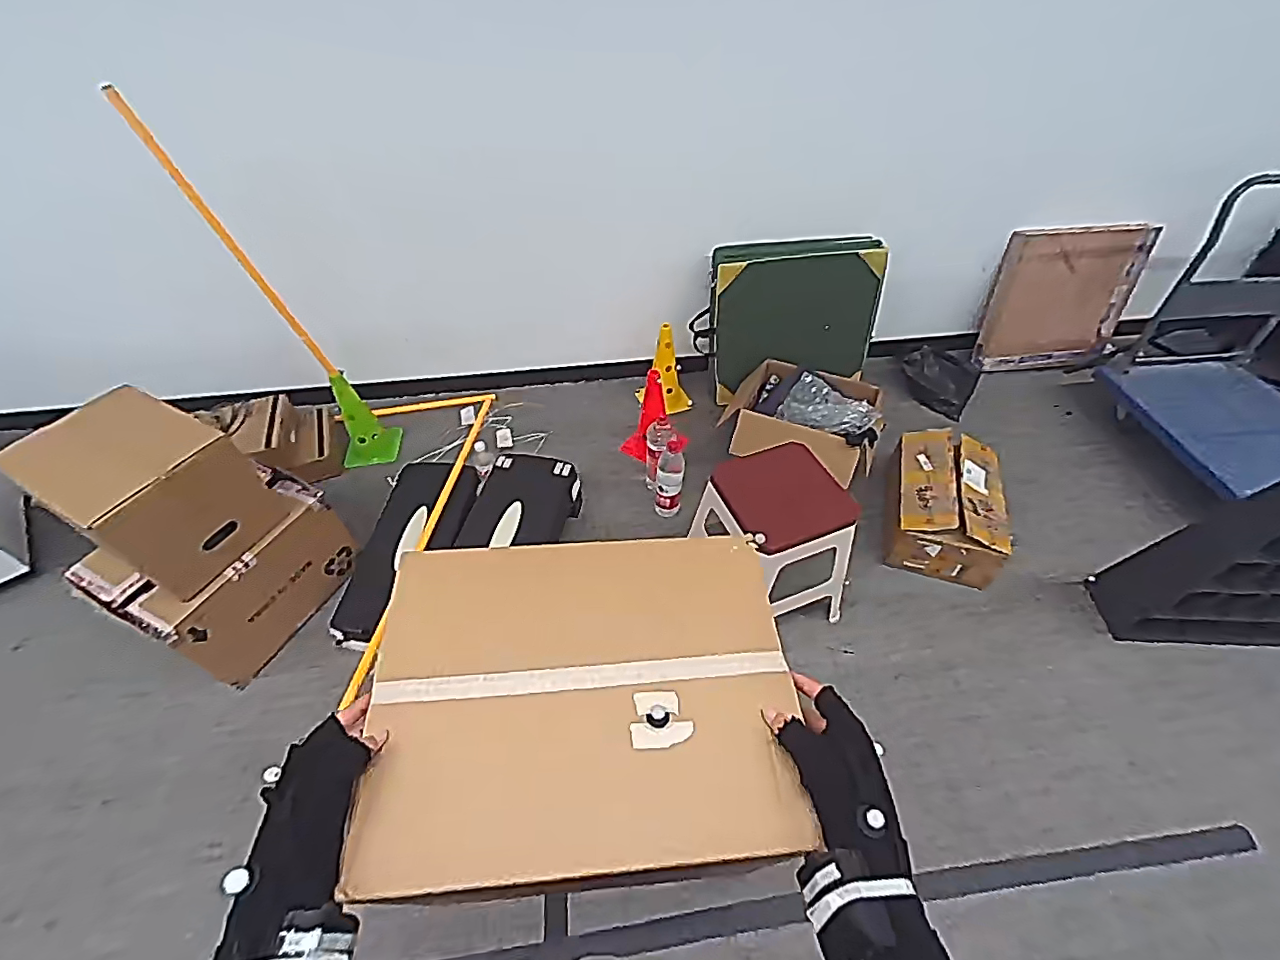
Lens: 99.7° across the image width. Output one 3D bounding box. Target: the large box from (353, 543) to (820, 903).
[{"bbox_3d":[-0.059,0.296,0.660,0.408,0.320,0.320,-1,51,-5],"label":"large box"}]
